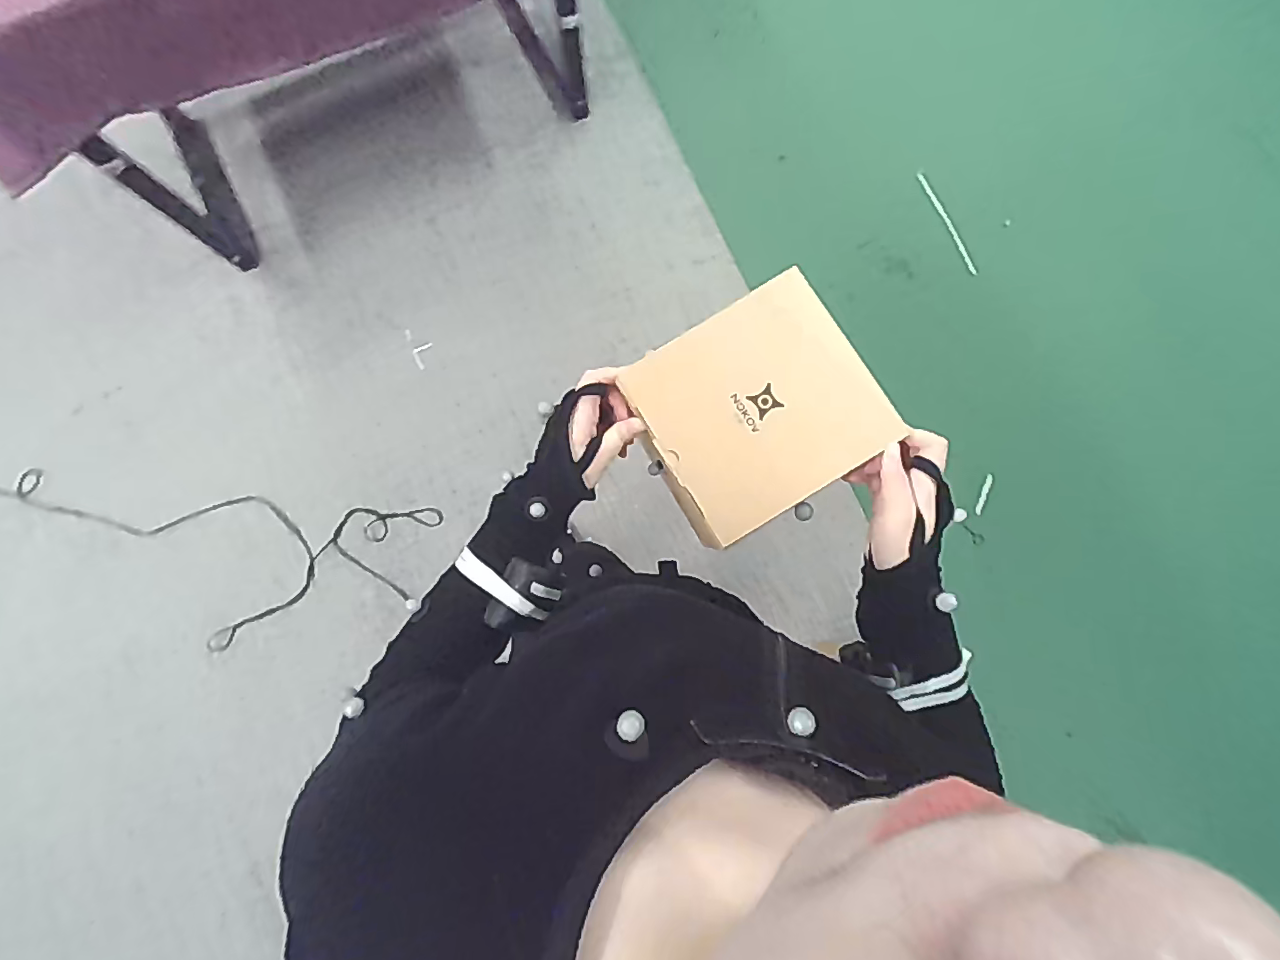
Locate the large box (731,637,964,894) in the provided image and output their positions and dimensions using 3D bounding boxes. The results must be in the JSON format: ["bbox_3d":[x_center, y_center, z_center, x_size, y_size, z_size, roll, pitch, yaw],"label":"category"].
[{"bbox_3d":[0.470,0.651,1.315,0.320,0.320,0.408,-25,85,-4],"label":"large box"}]
